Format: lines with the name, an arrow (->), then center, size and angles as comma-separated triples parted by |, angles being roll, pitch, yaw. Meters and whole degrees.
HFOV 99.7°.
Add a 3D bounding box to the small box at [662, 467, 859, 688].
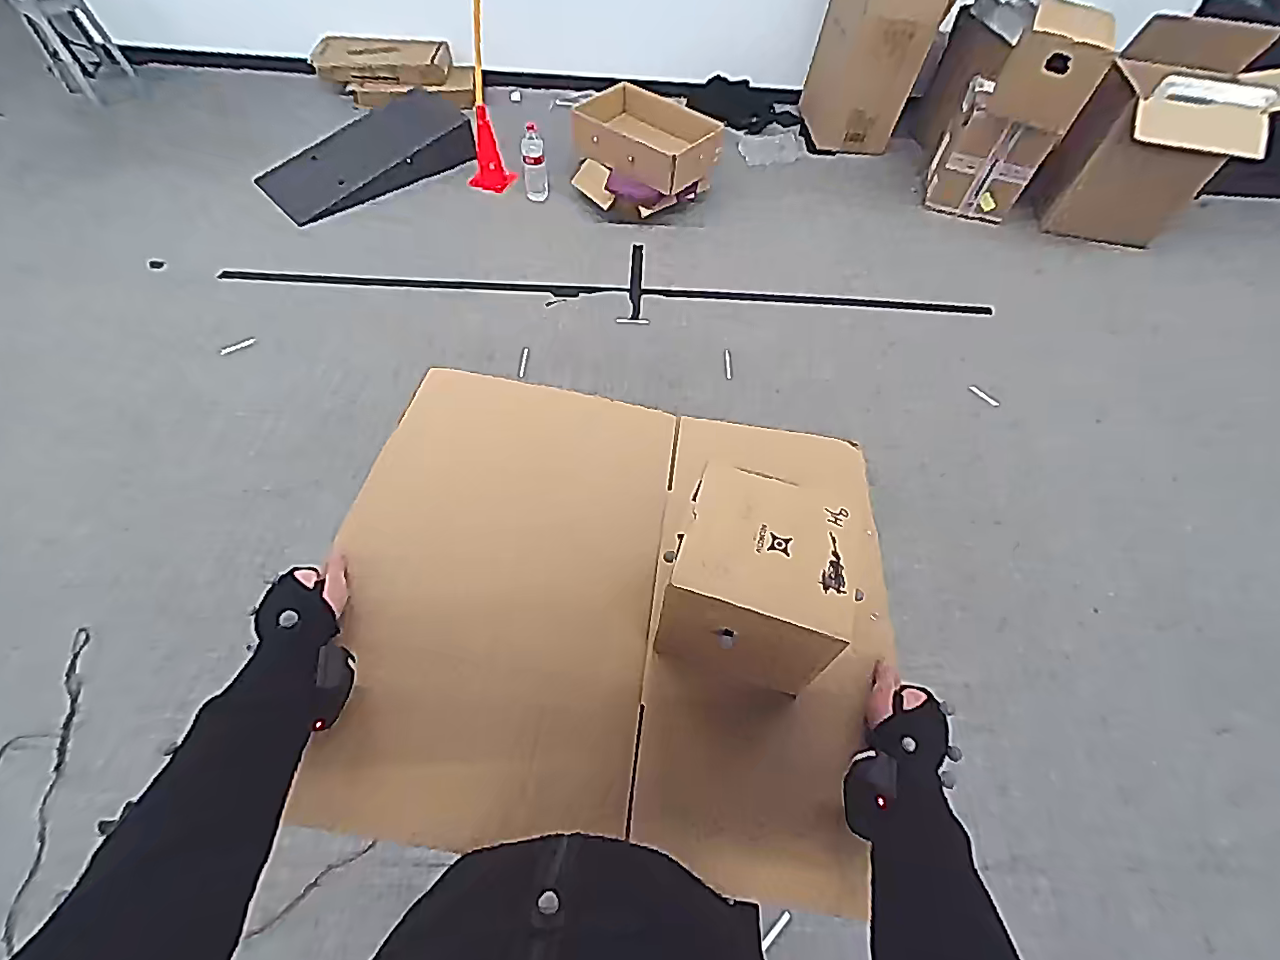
small box -> 0.130, 0.115, 0.619 | 0.179, 0.176, 0.168 | 16, 53, 9
